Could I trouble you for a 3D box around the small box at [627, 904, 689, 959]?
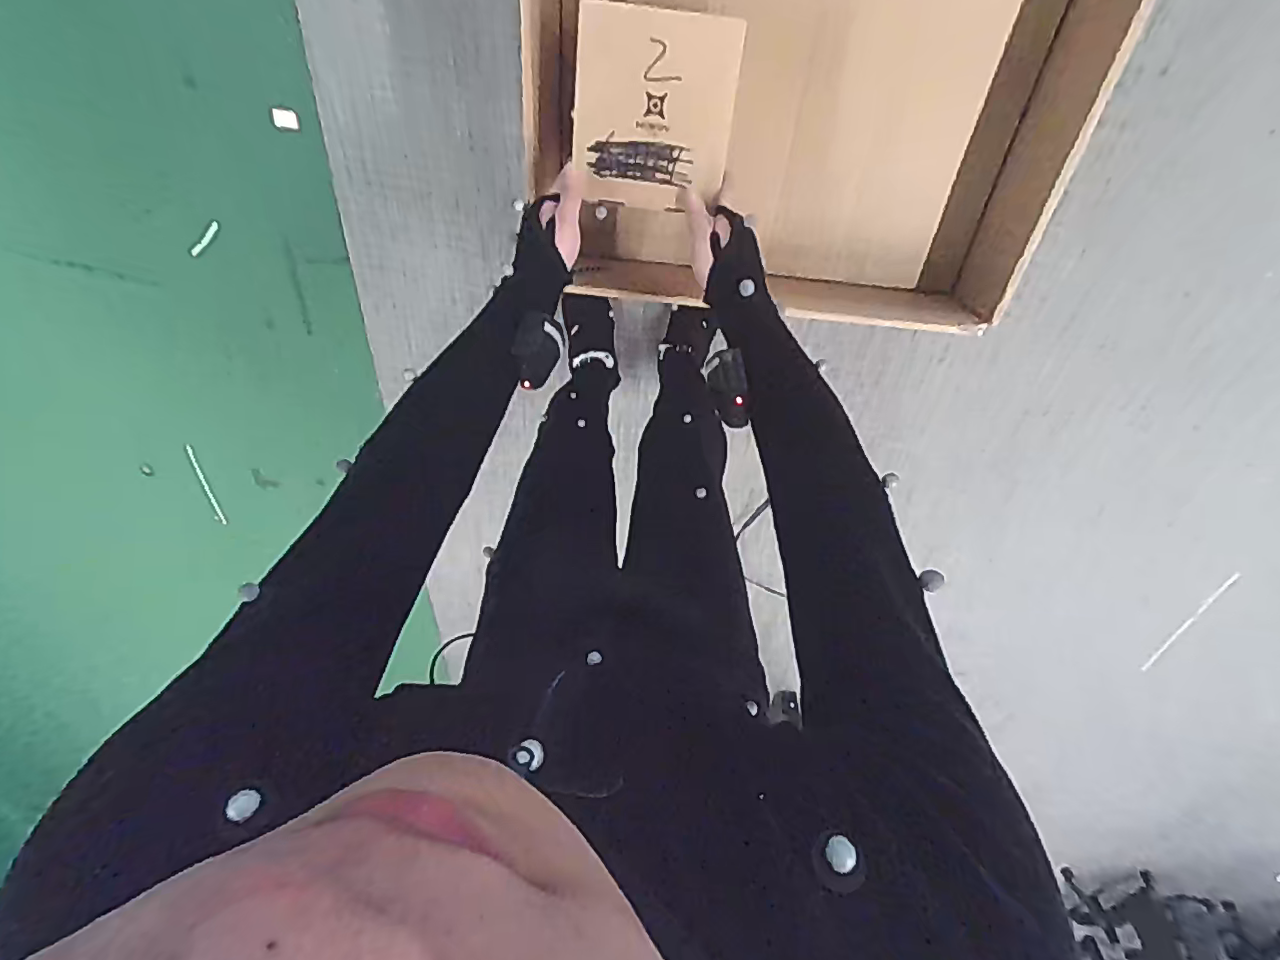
[{"bbox_3d":[0.049,1.340,1.536,0.168,0.176,0.179,4,127,2],"label":"small box"}]
